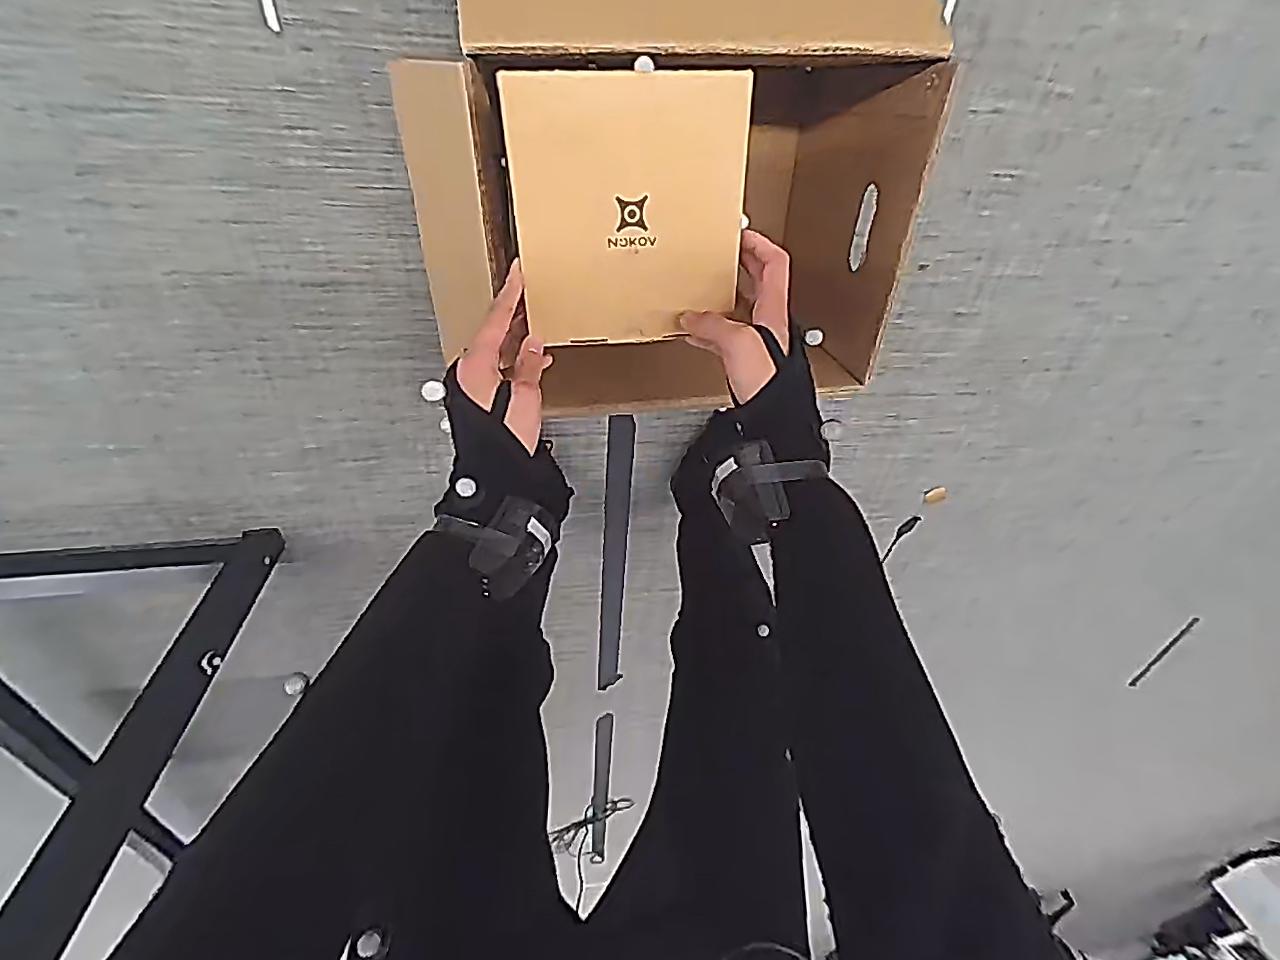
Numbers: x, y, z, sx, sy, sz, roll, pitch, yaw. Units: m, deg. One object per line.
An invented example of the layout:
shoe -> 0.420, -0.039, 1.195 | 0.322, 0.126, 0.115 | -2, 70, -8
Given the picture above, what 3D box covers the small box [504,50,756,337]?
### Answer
small box -> -0.017, -0.232, 0.446 | 0.168, 0.176, 0.179 | -6, 123, -7
